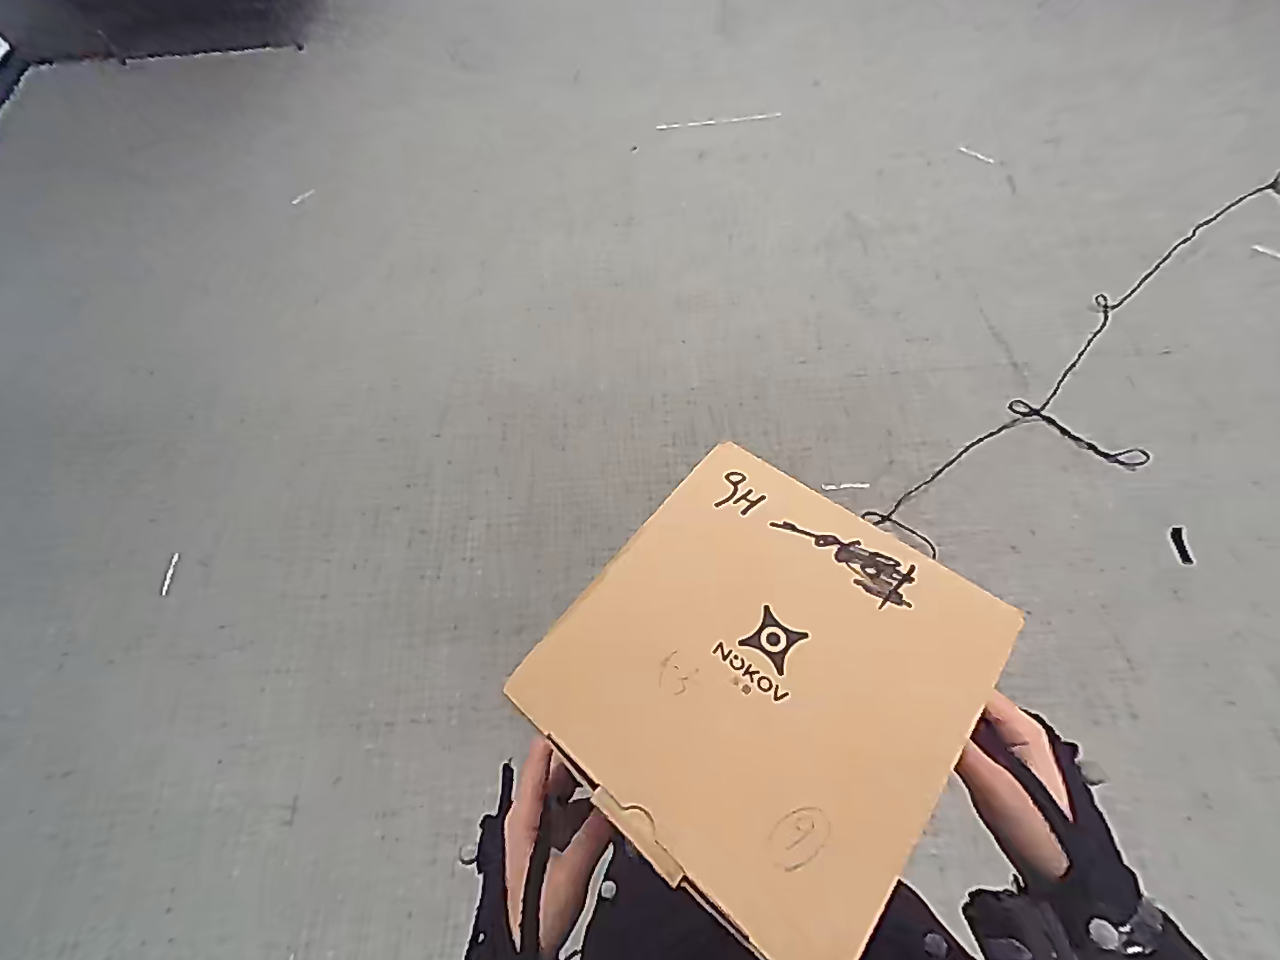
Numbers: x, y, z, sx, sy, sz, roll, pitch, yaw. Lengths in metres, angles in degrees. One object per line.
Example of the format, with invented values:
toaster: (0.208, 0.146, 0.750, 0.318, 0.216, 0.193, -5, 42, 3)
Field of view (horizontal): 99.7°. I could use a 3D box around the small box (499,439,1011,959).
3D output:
small box: (0.058, 0.117, 0.311, 0.168, 0.176, 0.179, 34, 69, 24)
